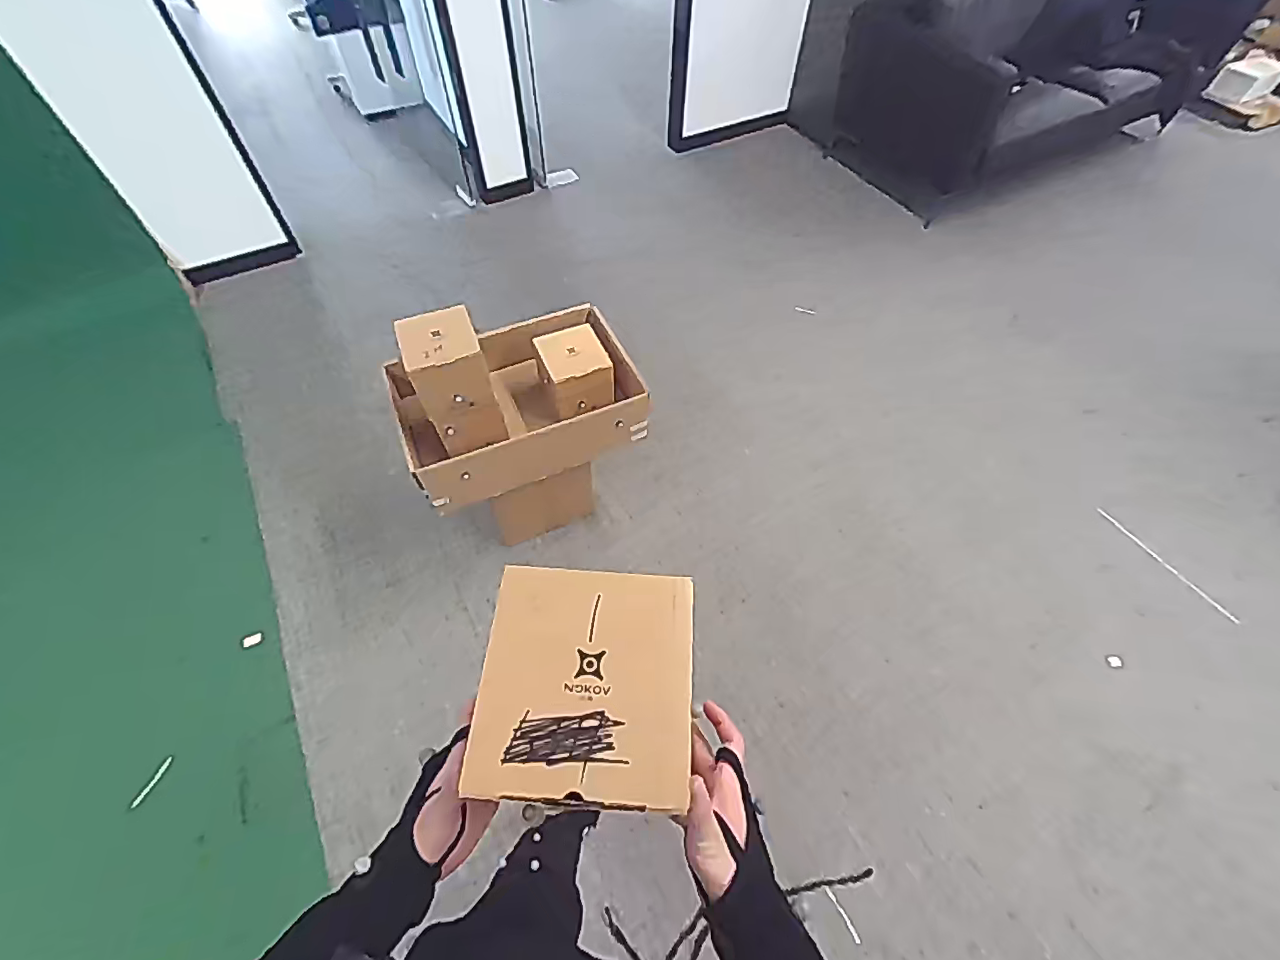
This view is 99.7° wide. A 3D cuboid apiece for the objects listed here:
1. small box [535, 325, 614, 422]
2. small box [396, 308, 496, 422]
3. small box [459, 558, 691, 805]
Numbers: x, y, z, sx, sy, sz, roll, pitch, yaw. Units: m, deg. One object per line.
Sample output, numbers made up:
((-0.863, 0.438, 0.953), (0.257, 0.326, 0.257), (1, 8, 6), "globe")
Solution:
((-0.179, -0.292, 1.493), (0.168, 0.176, 0.179), (-21, 60, -14), "small box")
((-0.454, -0.269, 1.278), (0.168, 0.176, 0.179), (-20, 59, -12), "small box")
((-0.043, 0.188, 0.492), (0.168, 0.176, 0.179), (3, 58, 2), "small box")
